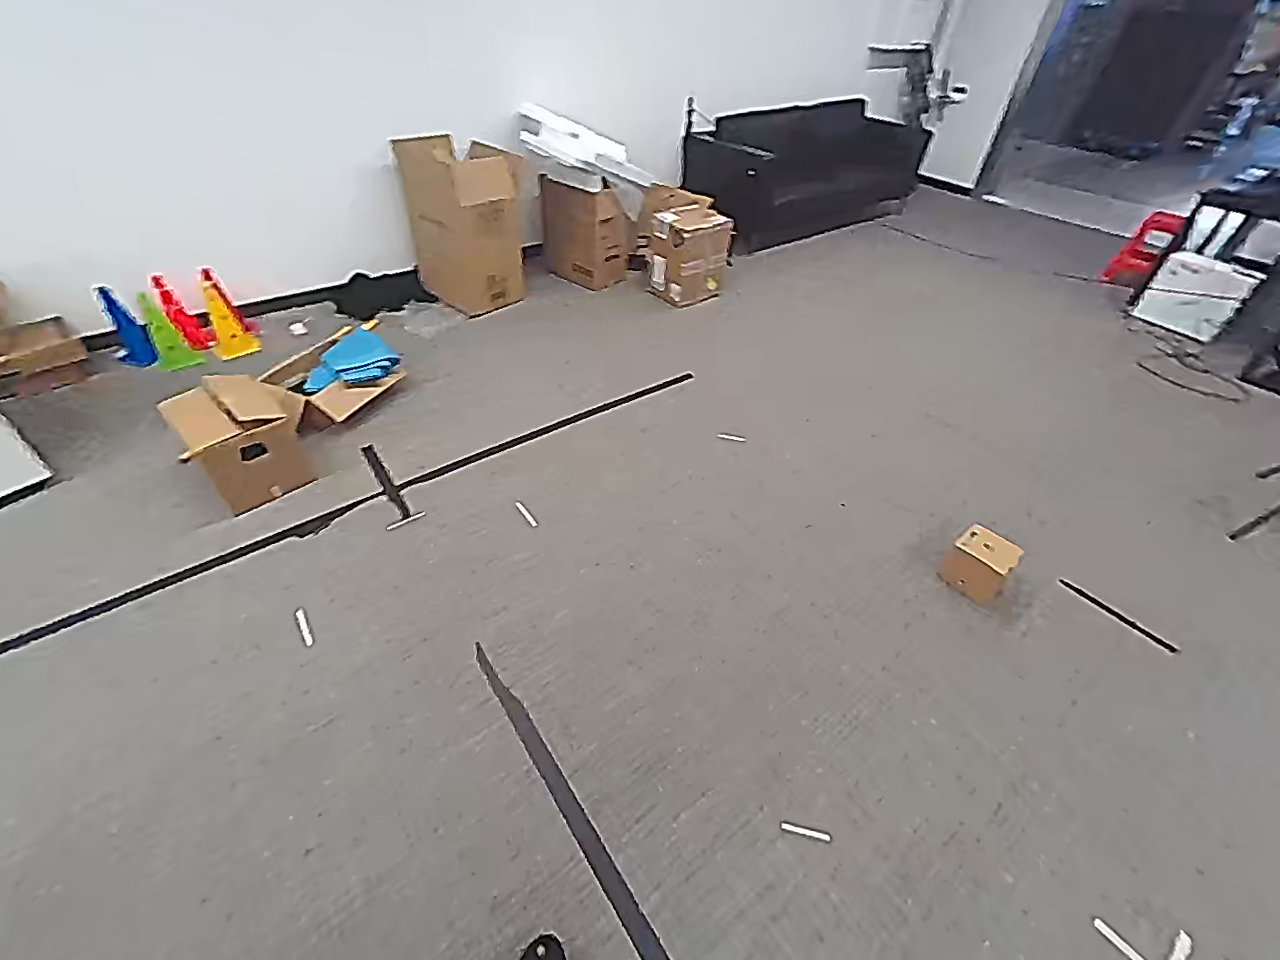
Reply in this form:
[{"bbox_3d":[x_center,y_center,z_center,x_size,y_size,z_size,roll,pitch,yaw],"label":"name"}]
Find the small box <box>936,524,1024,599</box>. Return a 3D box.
[{"bbox_3d":[1.190,0.293,1.904,0.168,0.176,0.179,-27,50,-29],"label":"small box"}]
